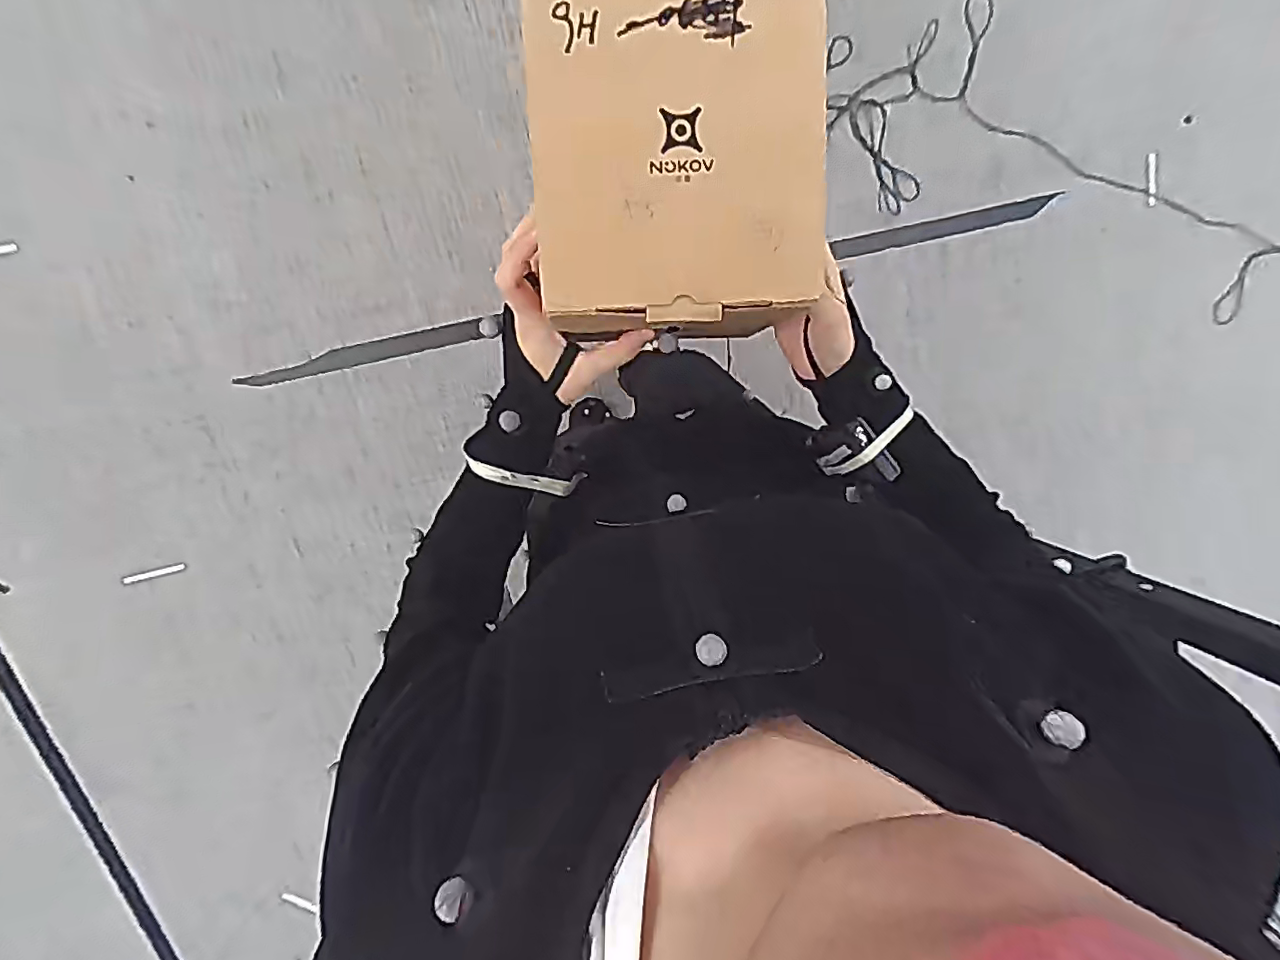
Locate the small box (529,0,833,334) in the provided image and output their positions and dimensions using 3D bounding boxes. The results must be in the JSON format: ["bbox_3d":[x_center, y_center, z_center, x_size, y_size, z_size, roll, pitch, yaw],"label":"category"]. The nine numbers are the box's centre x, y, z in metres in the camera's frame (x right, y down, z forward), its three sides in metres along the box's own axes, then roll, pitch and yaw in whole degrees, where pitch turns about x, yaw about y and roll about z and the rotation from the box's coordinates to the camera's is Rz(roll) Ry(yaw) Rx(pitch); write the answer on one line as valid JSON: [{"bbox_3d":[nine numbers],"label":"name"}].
[{"bbox_3d":[0.021,-0.198,0.380,0.168,0.176,0.179,-3,100,-3],"label":"small box"}]
